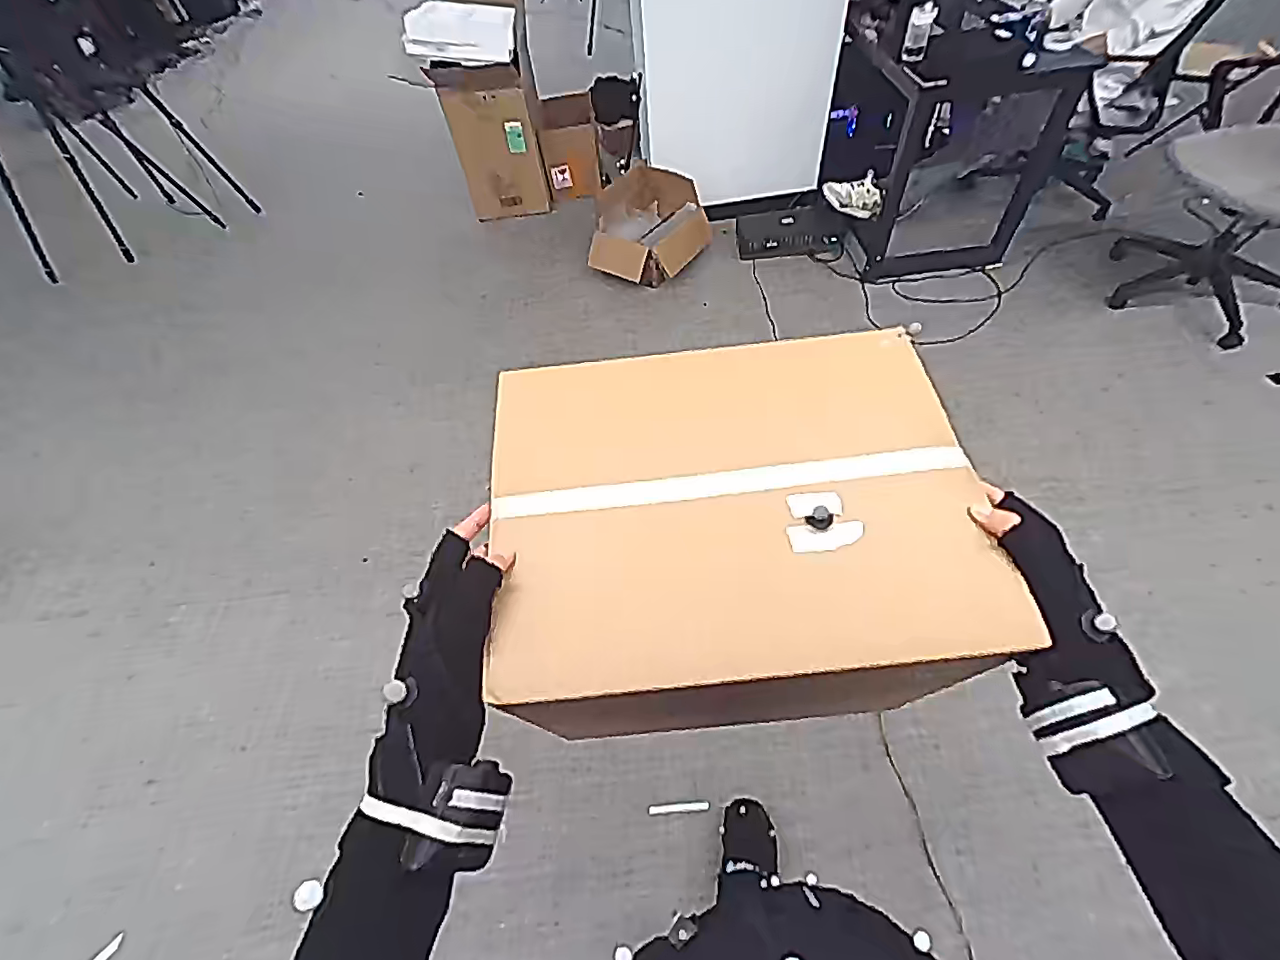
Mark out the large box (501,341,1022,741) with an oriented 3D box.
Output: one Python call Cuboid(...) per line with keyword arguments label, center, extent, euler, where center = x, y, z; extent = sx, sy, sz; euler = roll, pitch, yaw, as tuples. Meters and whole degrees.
Cuboid(label="large box", center=(0.084, 0.086, 0.606), extent=(0.408, 0.320, 0.320), euler=(-6, 59, 0))
